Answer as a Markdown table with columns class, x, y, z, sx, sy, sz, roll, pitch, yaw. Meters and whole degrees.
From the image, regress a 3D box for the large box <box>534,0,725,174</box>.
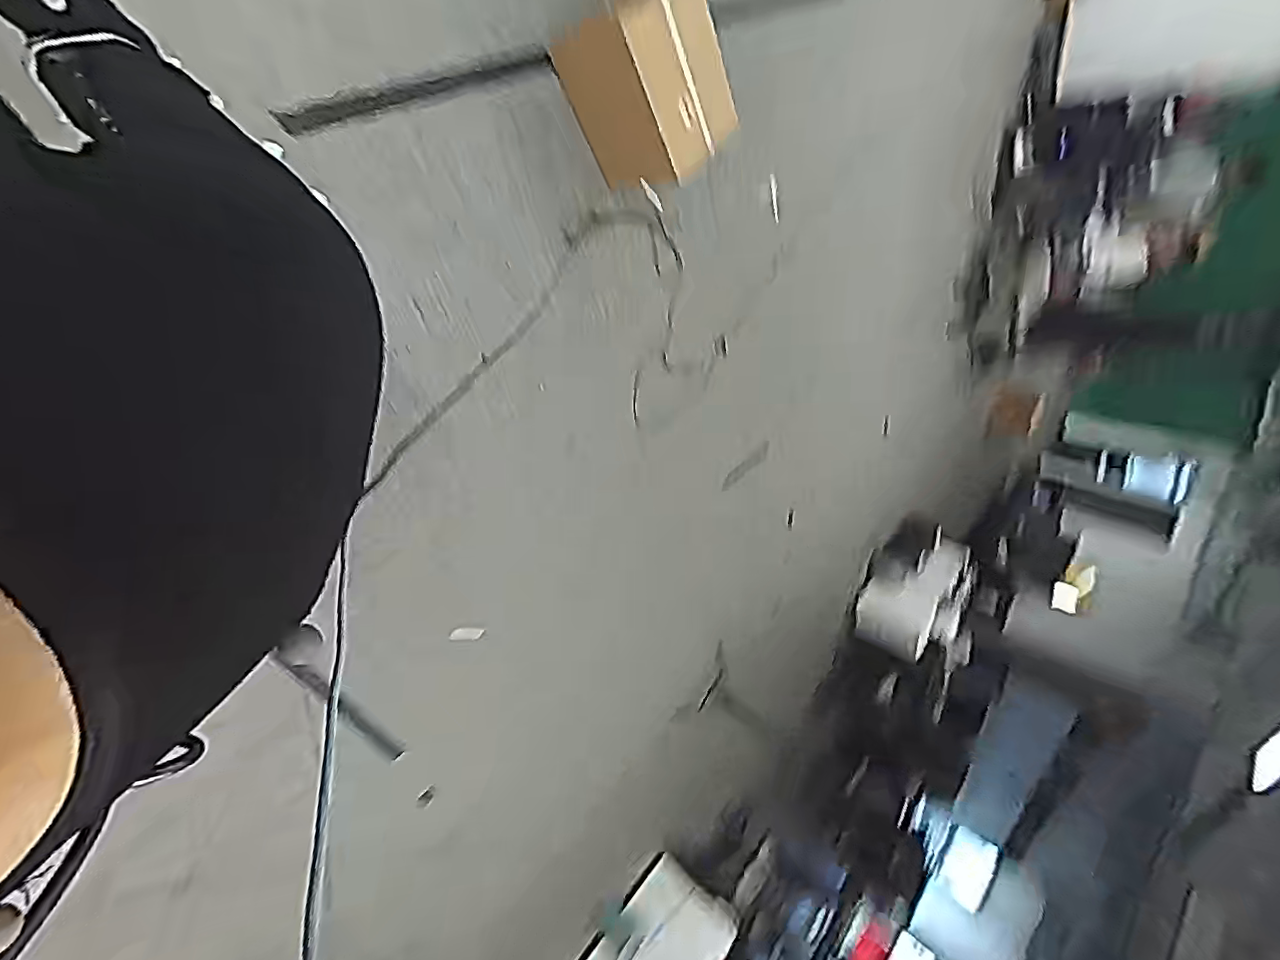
| class | x | y | z | sx | sy | sz | roll | pitch | yaw |
| --- | --- | --- | --- | --- | --- | --- | --- | --- | --- |
| large box | -0.018 | -1.154 | 1.532 | 0.320 | 0.320 | 0.408 | -52 | 139 | -15 |
